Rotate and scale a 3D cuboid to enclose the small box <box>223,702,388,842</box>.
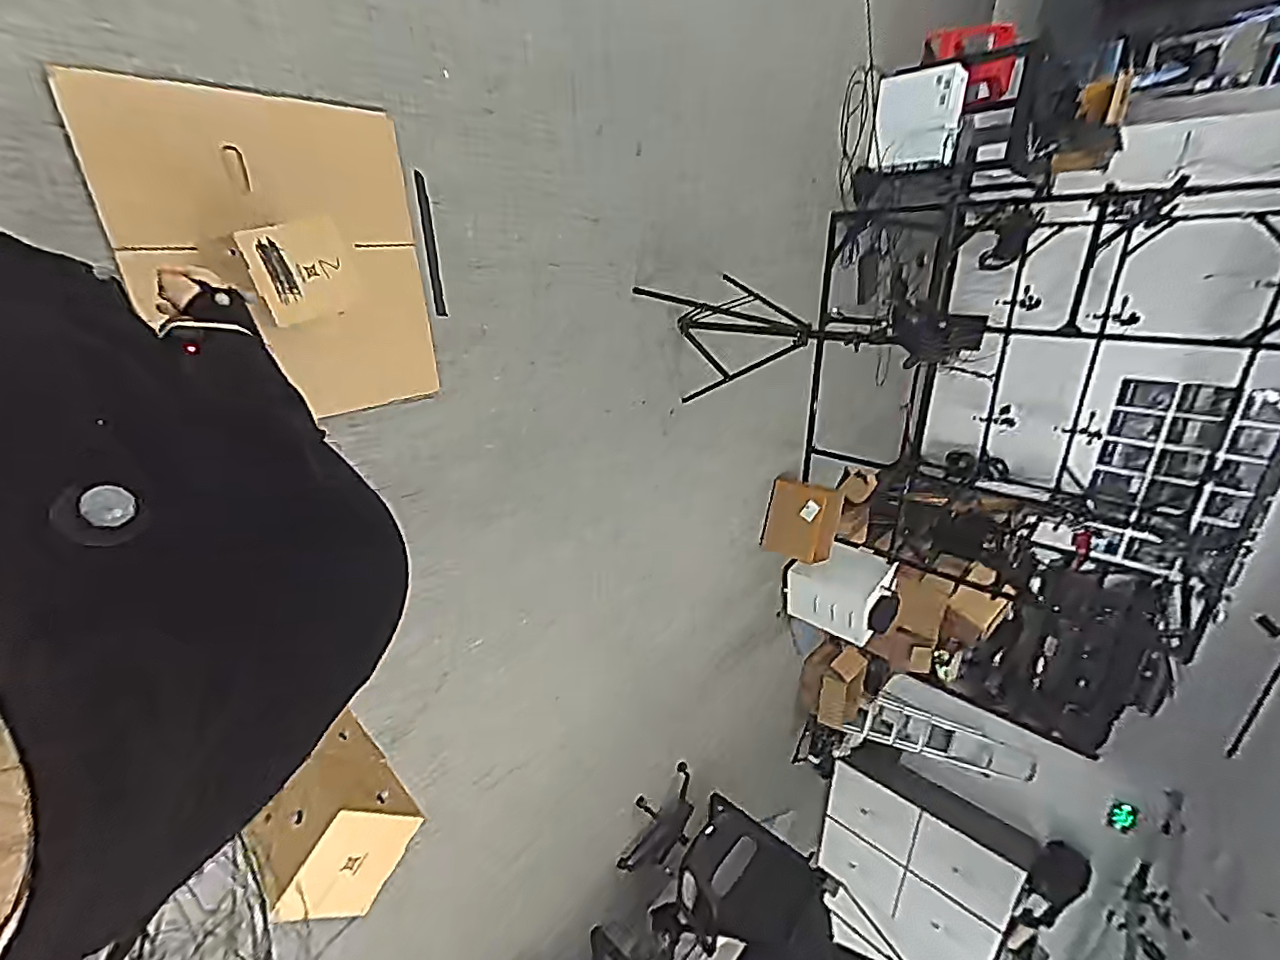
[{"bbox_3d":[-0.621,0.541,1.007,0.168,0.176,0.179,-58,139,-16],"label":"small box"}]

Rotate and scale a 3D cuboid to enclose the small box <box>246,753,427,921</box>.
[{"bbox_3d":[-0.506,0.584,0.900,0.168,0.176,0.179,-58,139,-15],"label":"small box"}]

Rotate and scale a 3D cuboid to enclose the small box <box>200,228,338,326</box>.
[{"bbox_3d":[-0.792,-0.436,1.157,0.179,0.176,0.168,-32,124,-37],"label":"small box"}]
